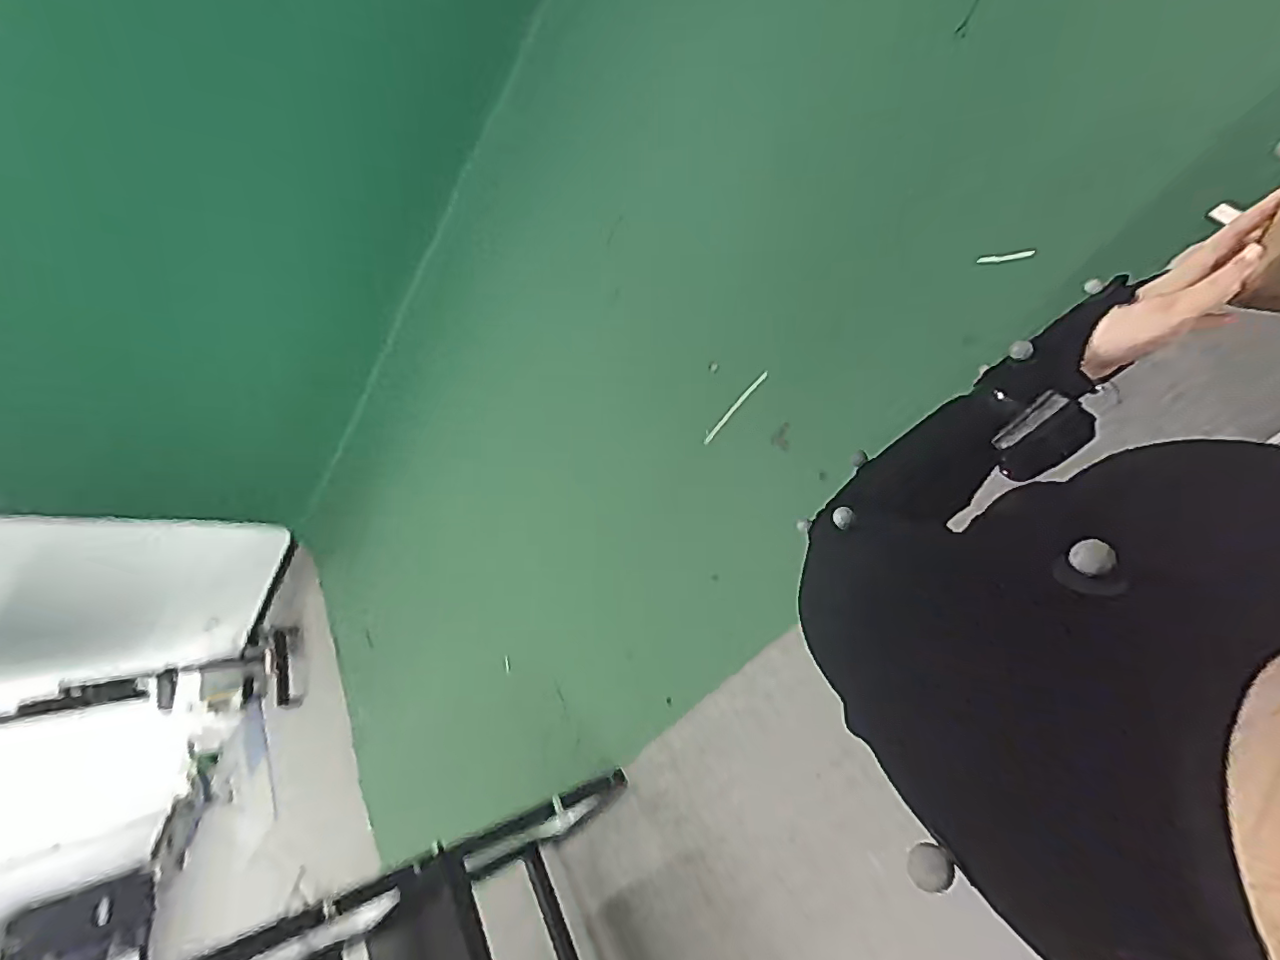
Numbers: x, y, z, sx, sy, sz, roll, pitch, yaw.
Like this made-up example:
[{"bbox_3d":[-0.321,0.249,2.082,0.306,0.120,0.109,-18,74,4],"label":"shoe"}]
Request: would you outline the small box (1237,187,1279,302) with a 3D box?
[{"bbox_3d":[0.472,-0.180,0.278,0.179,0.176,0.168,25,110,37],"label":"small box"}]
